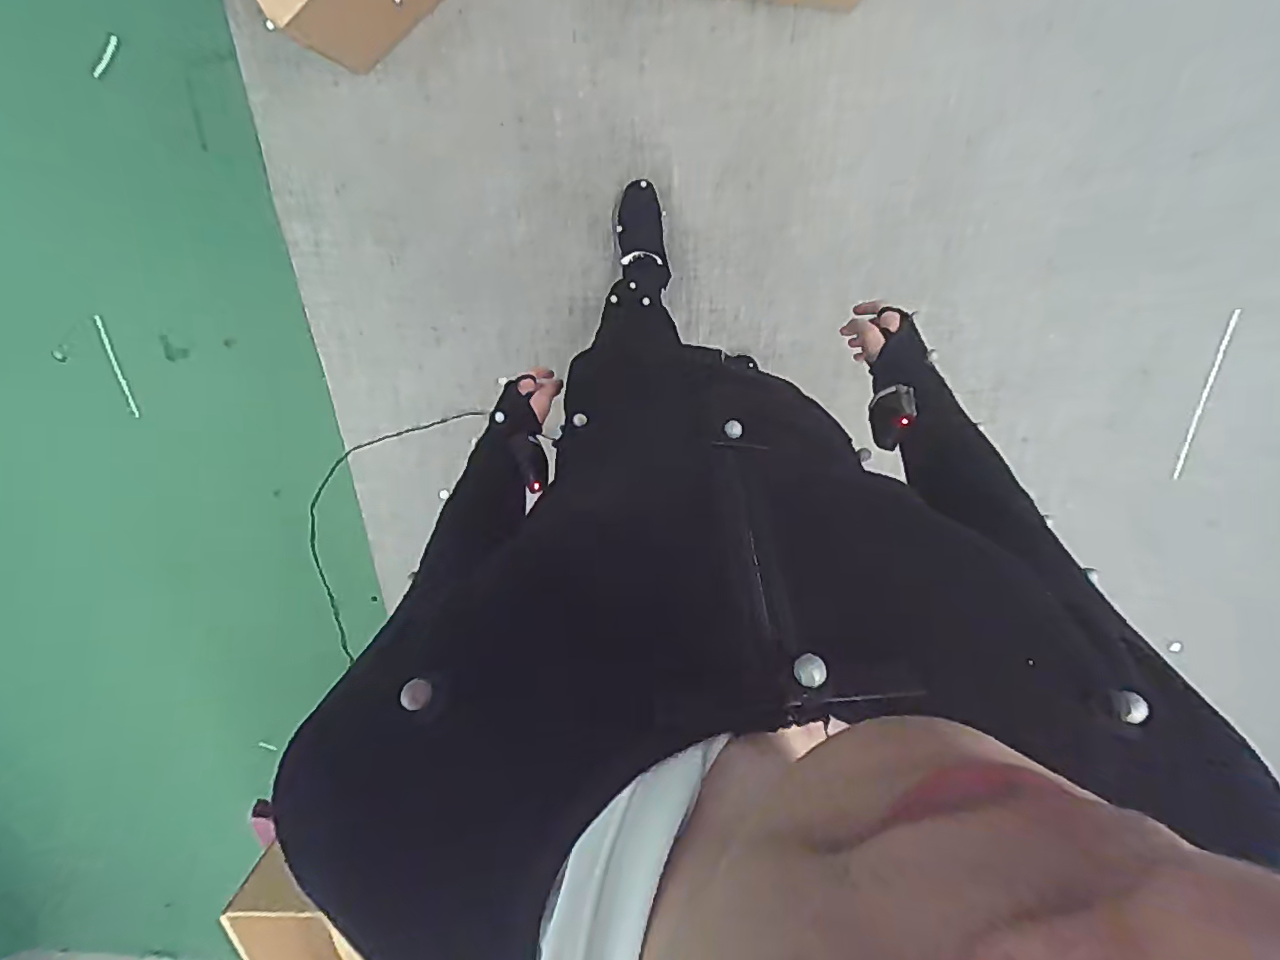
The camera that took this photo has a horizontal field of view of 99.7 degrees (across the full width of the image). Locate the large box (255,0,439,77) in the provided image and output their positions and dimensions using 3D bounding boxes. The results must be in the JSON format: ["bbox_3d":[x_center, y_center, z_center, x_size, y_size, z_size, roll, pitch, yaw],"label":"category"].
[{"bbox_3d":[-0.603,-1.131,1.082,0.408,0.320,0.320,-31,107,16],"label":"large box"}]

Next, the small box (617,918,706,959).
[{"bbox_3d":[0.049,1.230,1.334,0.179,0.176,0.168,38,111,-11],"label":"small box"}]
